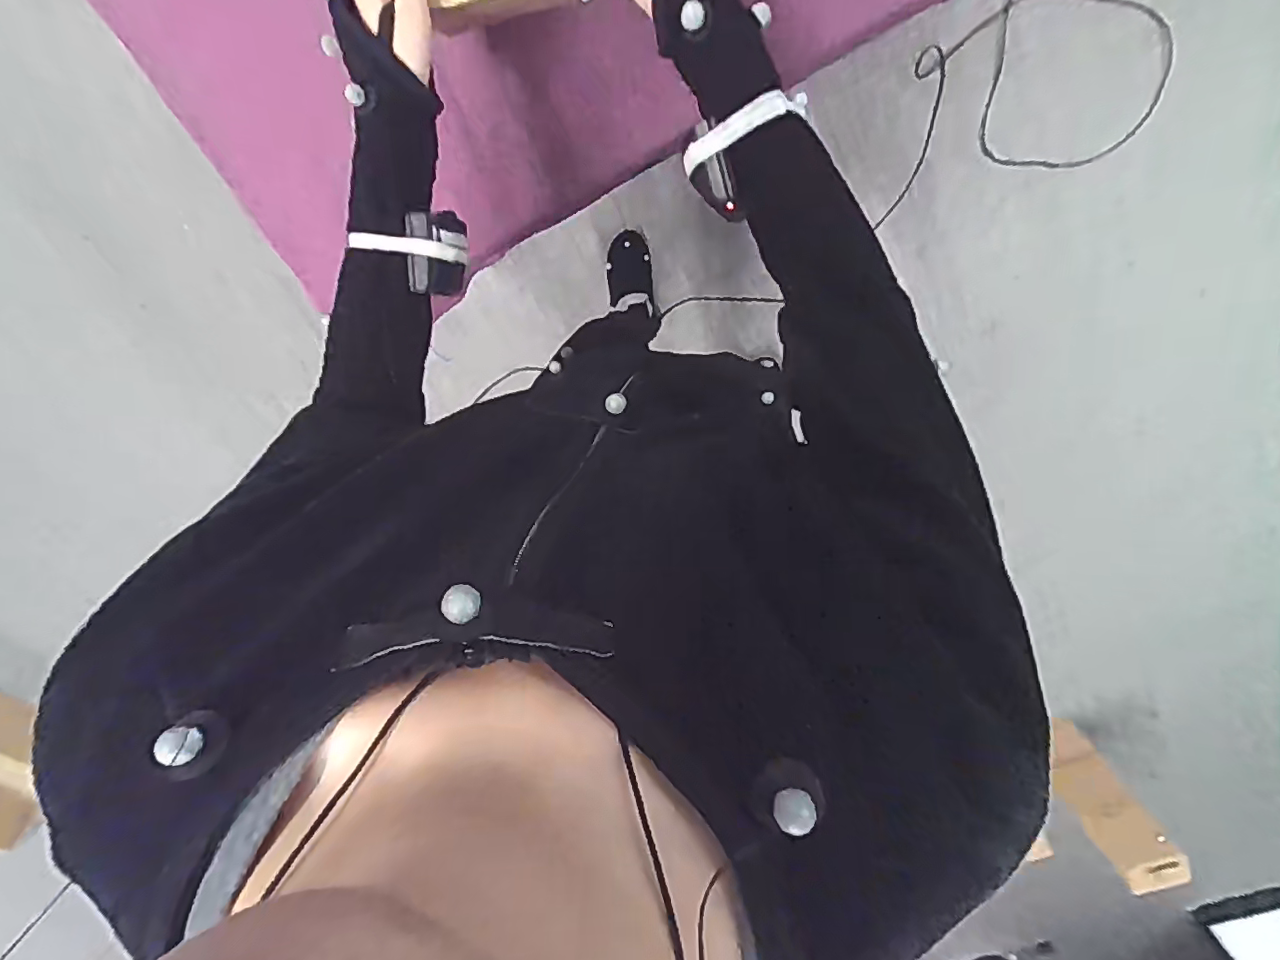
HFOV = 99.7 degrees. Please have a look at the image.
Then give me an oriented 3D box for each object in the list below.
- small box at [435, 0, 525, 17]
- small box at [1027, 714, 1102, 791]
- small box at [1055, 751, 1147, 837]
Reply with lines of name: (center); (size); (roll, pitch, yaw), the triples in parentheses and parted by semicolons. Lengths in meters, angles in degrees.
small box: (-0.107, -0.476, 0.403); (0.179, 0.176, 0.168); (-15, 127, 1)
small box: (1.585, 1.015, 2.014); (0.179, 0.176, 0.168); (-29, 112, 13)
small box: (1.576, 1.078, 1.863); (0.179, 0.176, 0.168); (-29, 112, 12)
